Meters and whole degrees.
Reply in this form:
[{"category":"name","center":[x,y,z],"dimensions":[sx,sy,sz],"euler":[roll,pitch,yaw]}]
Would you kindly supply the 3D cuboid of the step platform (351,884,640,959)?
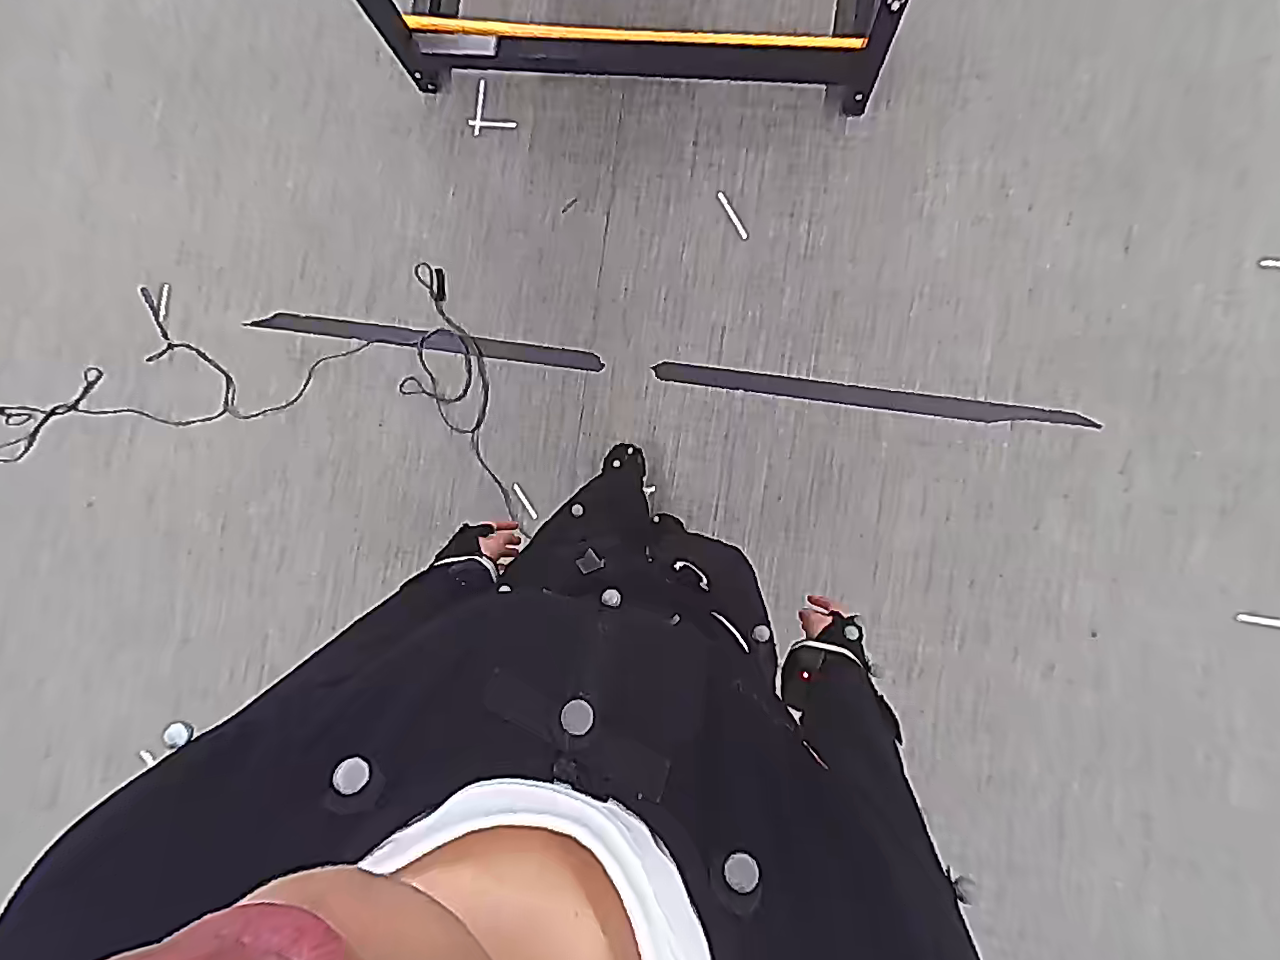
[{"category":"step platform","center":[-0.349,1.230,1.281],"dimensions":[0.684,0.204,0.286],"euler":[8,89,6]}]
